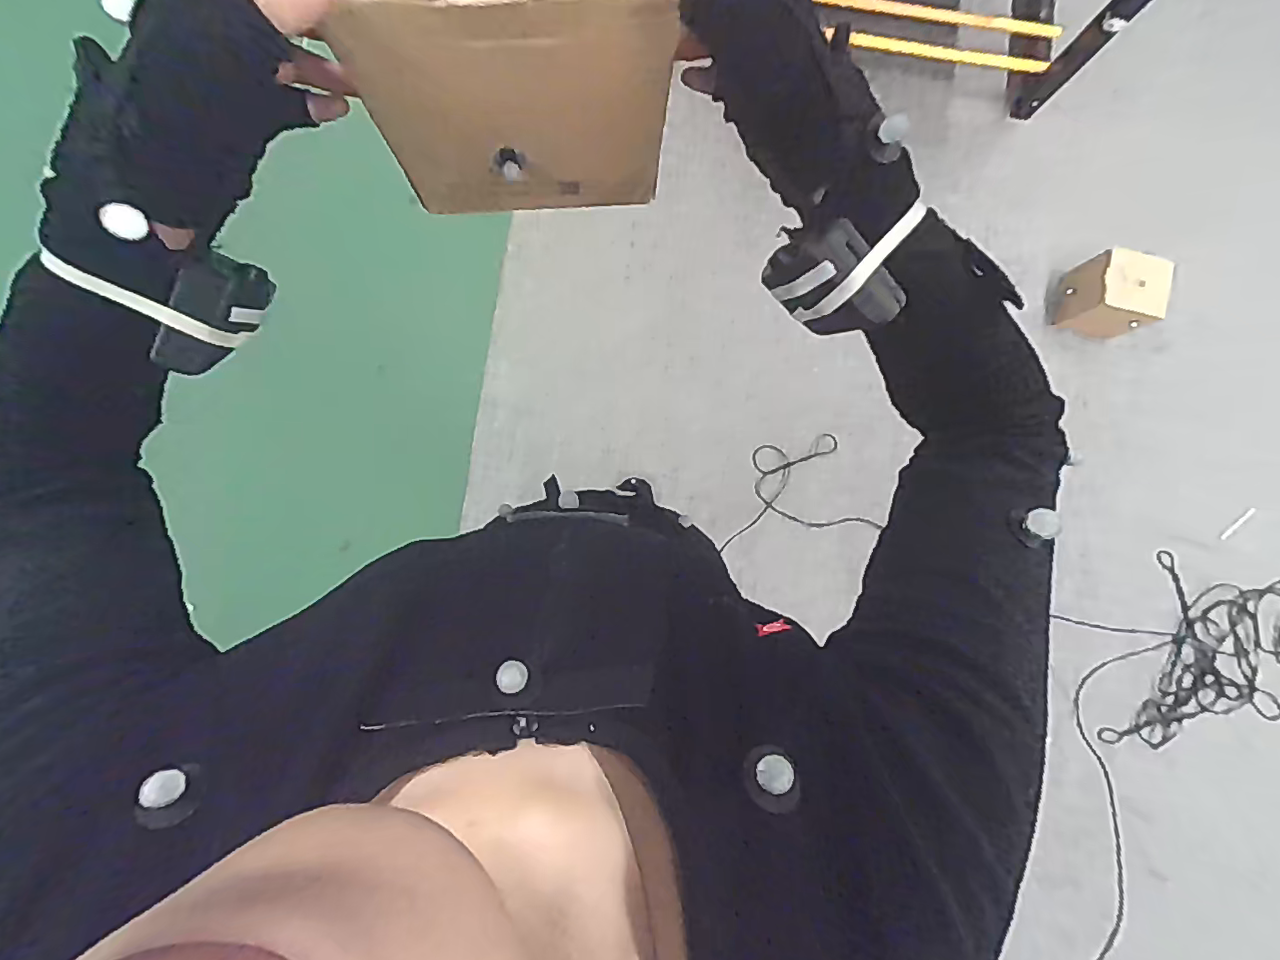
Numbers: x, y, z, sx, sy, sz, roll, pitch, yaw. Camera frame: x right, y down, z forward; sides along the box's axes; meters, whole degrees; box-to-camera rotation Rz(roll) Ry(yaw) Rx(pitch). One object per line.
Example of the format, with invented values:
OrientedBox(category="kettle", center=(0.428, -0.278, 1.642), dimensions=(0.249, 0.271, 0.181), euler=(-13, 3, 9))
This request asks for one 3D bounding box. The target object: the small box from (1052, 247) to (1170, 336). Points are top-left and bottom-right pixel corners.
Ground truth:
OrientedBox(category="small box", center=(1.319, -0.520, 1.522), dimensions=(0.179, 0.176, 0.168), euler=(13, 85, -1))
